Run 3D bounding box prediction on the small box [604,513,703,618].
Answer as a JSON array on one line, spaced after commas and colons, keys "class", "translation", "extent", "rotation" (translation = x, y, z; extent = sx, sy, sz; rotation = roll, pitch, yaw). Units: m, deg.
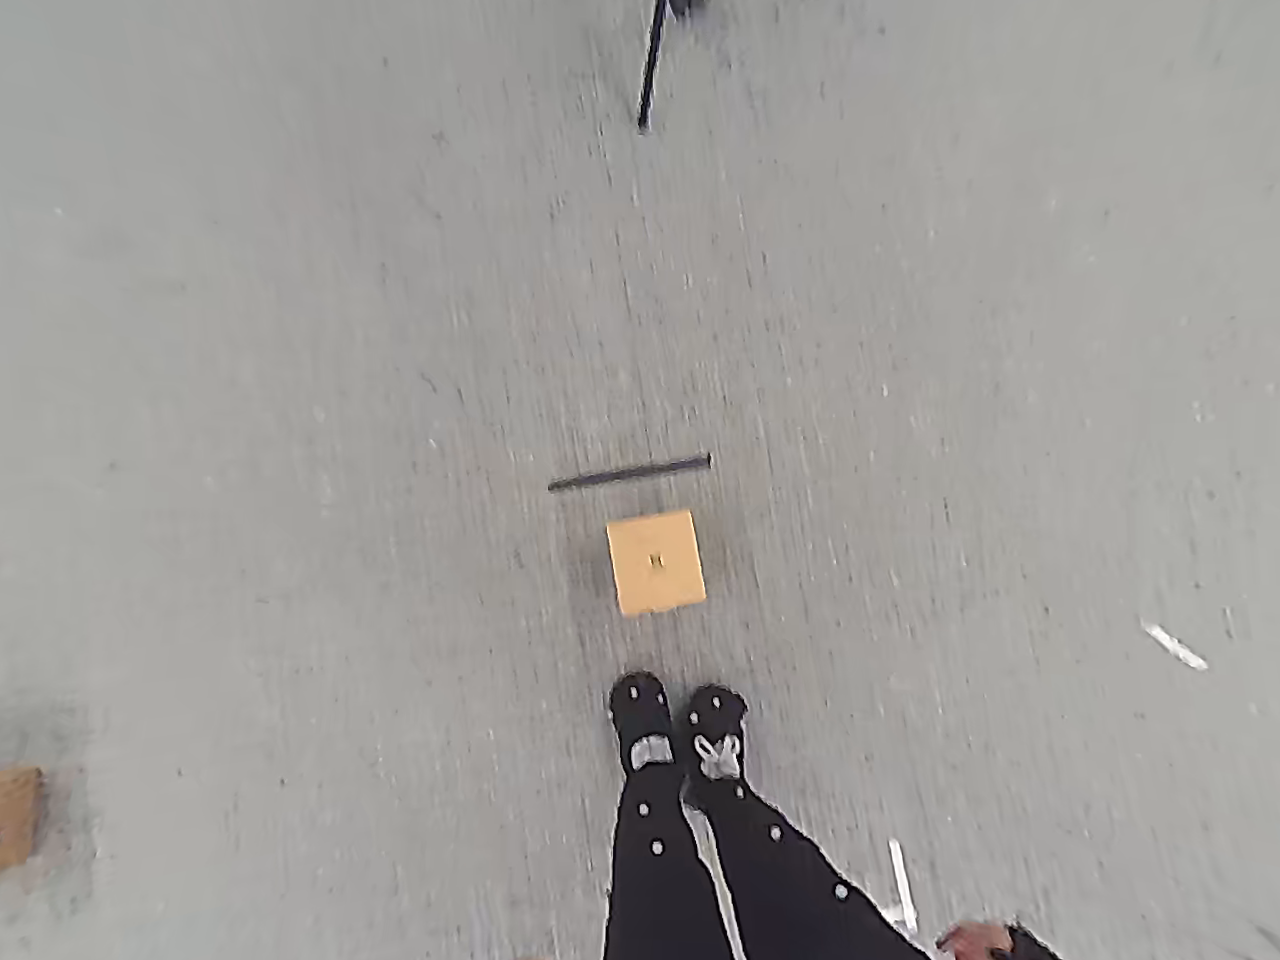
[{"class": "small box", "translation": [0.024, 0.169, 1.103], "extent": [0.168, 0.176, 0.179], "rotation": [-10, 83, -3]}]
